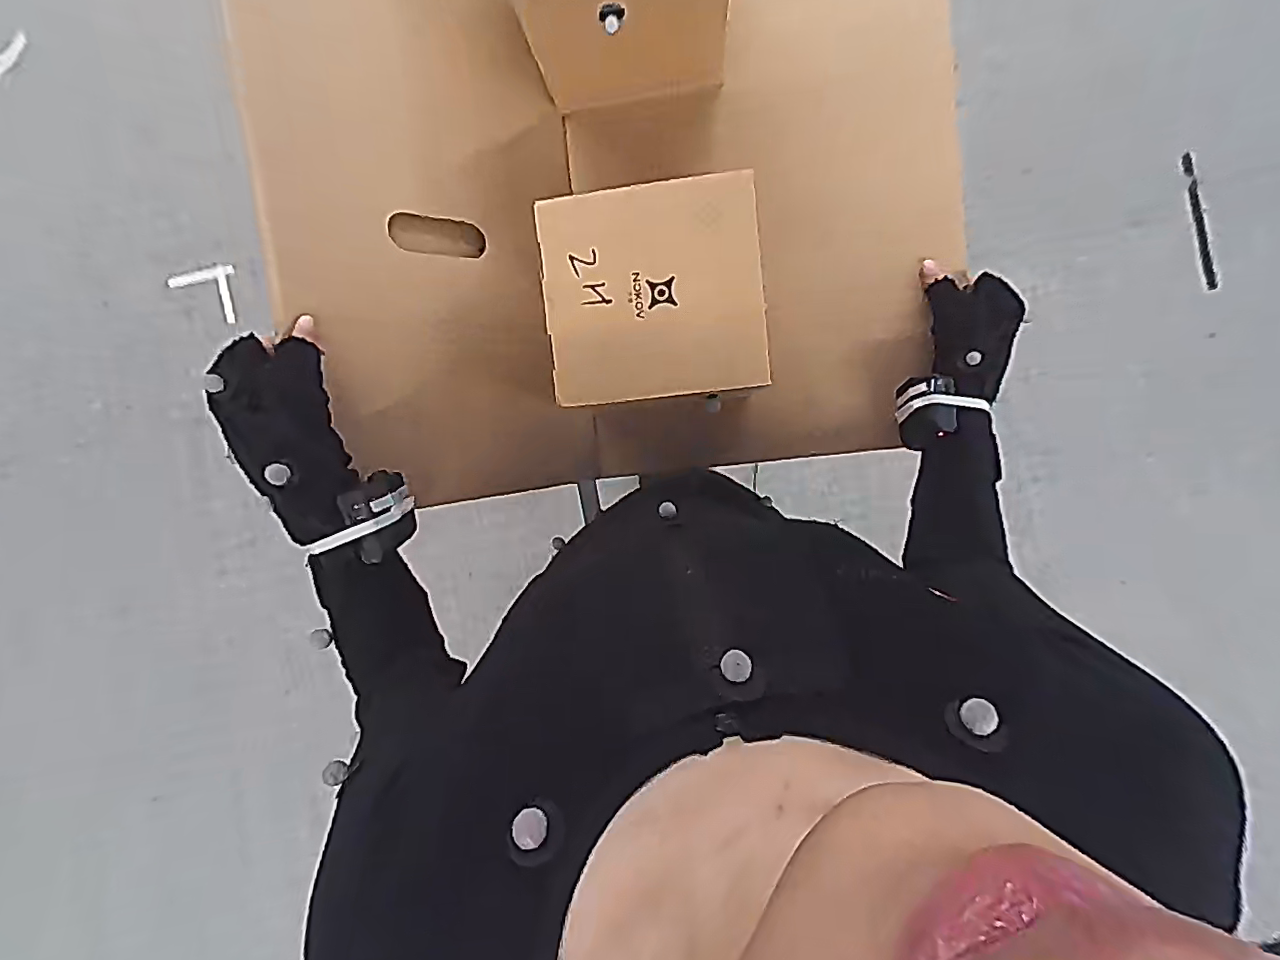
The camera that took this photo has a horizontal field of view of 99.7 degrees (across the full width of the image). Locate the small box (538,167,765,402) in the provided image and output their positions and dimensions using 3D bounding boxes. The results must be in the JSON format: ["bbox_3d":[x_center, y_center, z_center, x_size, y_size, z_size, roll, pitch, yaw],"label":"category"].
[{"bbox_3d":[0.016,-0.167,0.518,0.179,0.176,0.168,-5,94,7],"label":"small box"}]

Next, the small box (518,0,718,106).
[{"bbox_3d":[-0.021,-0.482,0.494,0.179,0.176,0.168,-7,94,6],"label":"small box"}]
